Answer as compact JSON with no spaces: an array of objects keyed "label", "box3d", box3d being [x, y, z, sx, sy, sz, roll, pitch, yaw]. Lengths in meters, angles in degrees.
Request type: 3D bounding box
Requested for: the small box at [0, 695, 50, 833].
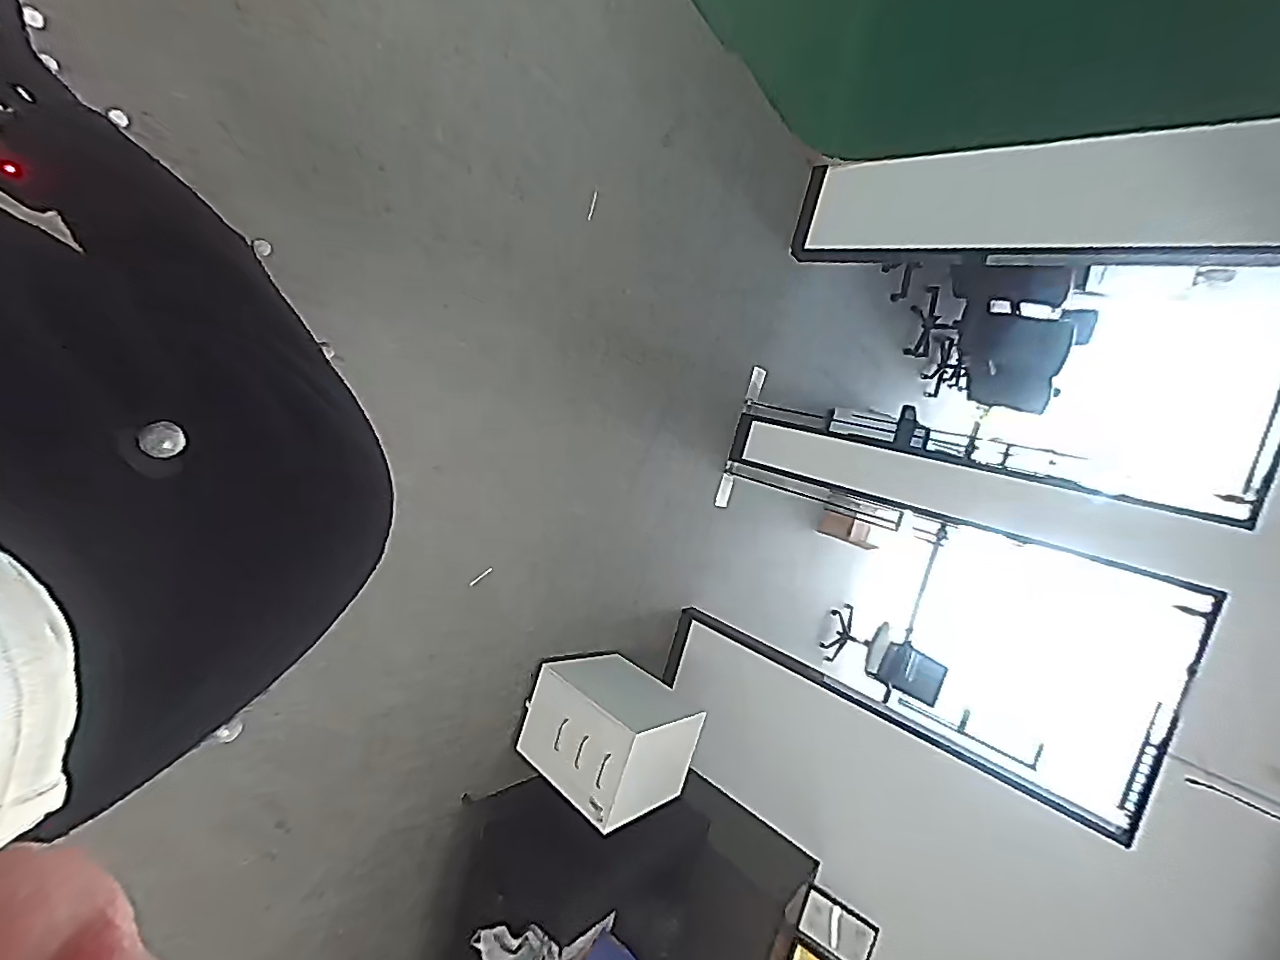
[{"label":"small box","box3d":[-1.193,0.516,0.963,0.168,0.176,0.179,10,97,-53]}]
